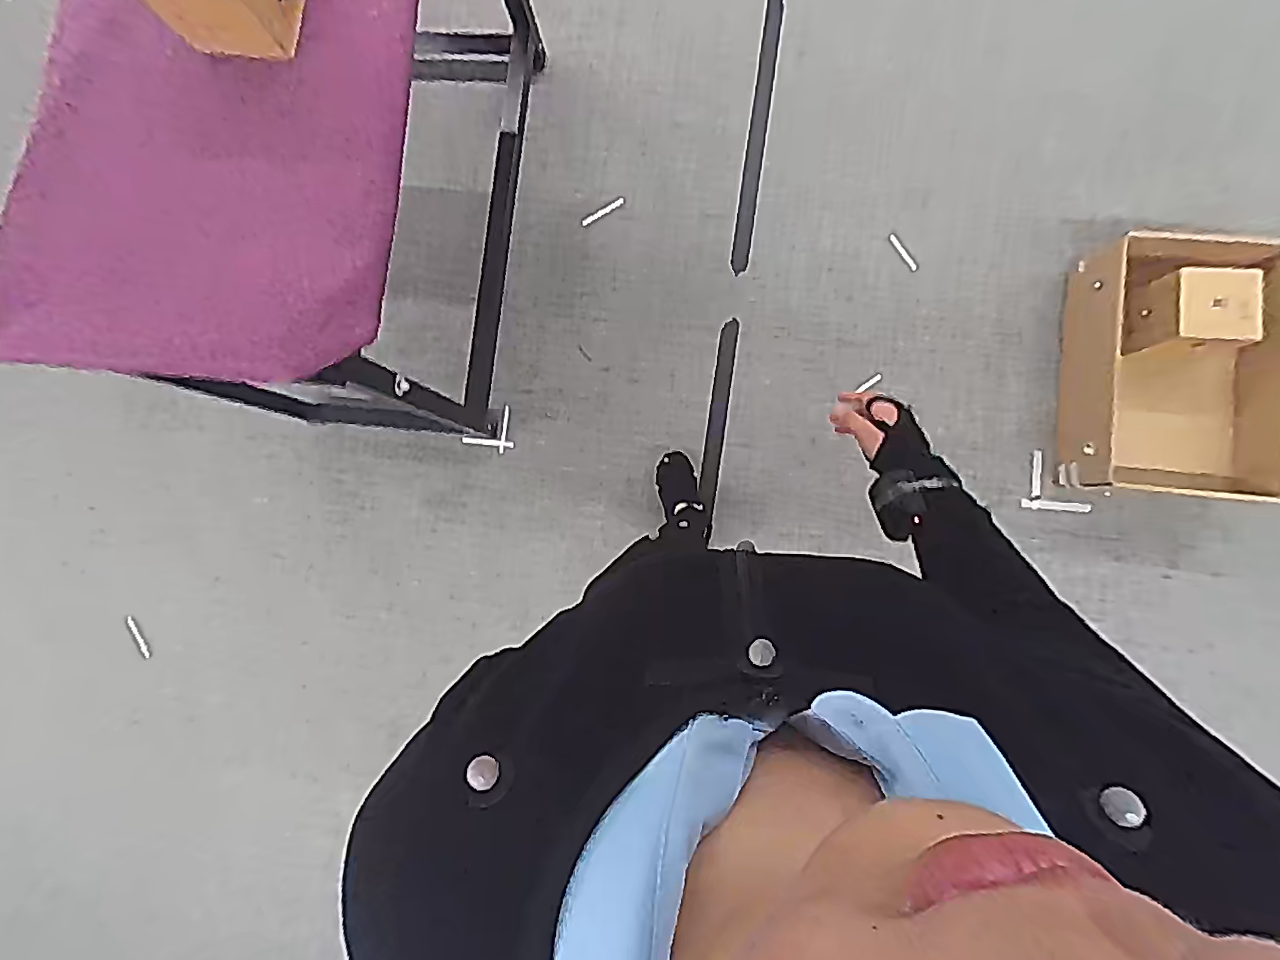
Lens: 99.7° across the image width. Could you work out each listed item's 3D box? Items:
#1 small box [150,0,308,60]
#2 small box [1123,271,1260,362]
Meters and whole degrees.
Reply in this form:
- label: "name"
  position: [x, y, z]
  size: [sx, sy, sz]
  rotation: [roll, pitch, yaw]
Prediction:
- label: "small box"
  position: [-0.641, -0.778, 0.813]
  size: [0.179, 0.176, 0.168]
  rotation: [8, 87, 5]
- label: "small box"
  position: [1.332, -0.393, 1.318]
  size: [0.179, 0.176, 0.168]
  rotation: [4, 87, 5]
